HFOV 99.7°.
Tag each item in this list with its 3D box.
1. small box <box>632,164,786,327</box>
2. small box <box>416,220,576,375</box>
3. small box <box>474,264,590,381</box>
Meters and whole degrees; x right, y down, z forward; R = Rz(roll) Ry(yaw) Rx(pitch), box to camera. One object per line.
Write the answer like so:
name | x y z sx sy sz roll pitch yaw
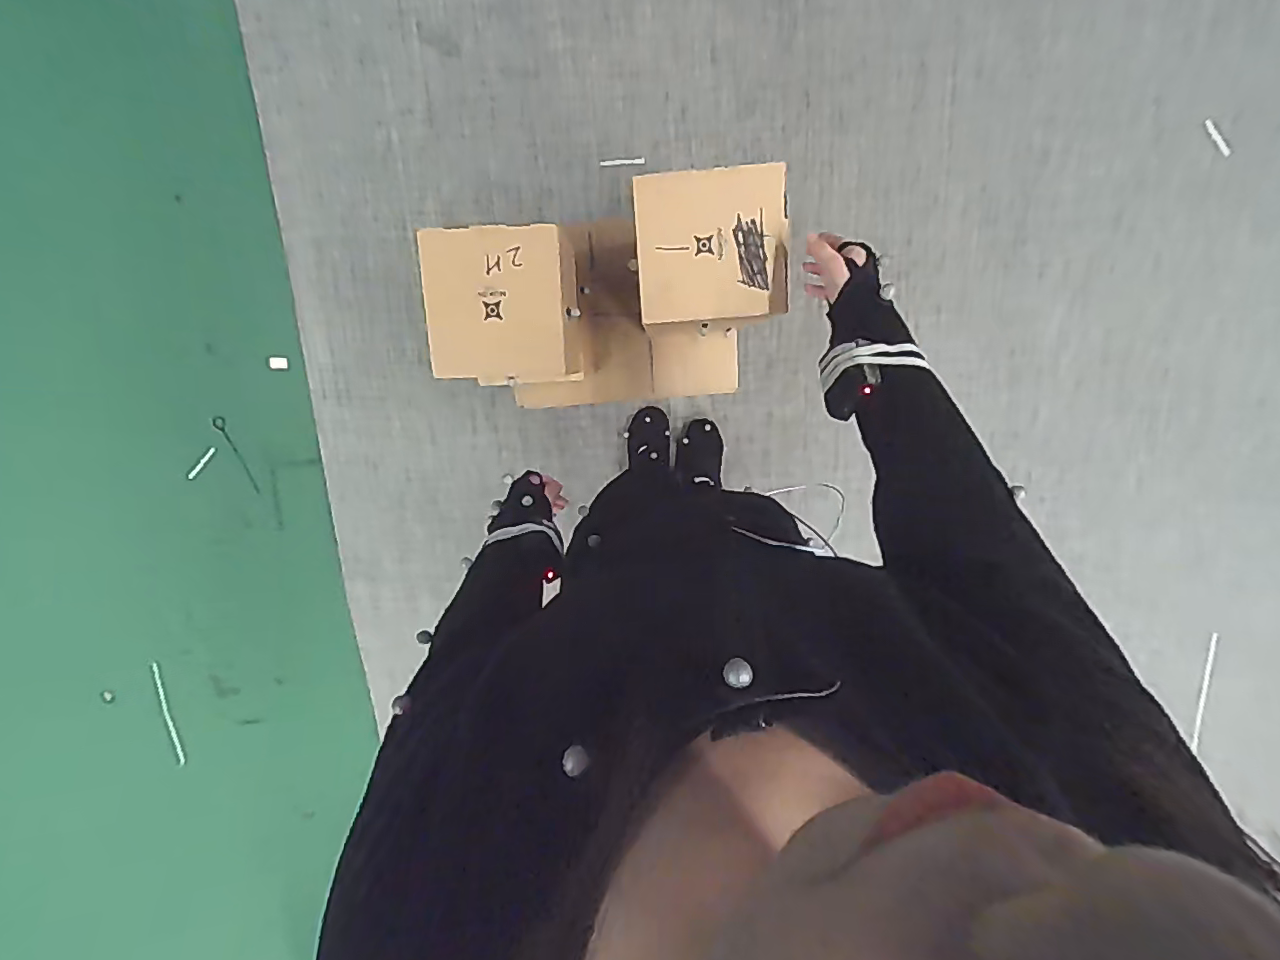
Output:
small box | 0.083 -0.290 0.703 0.179 0.176 0.168 -2 103 3
small box | -0.177 -0.234 0.720 0.168 0.176 0.179 0 103 0
small box | -0.175 -0.258 0.883 0.168 0.176 0.179 -2 103 1
